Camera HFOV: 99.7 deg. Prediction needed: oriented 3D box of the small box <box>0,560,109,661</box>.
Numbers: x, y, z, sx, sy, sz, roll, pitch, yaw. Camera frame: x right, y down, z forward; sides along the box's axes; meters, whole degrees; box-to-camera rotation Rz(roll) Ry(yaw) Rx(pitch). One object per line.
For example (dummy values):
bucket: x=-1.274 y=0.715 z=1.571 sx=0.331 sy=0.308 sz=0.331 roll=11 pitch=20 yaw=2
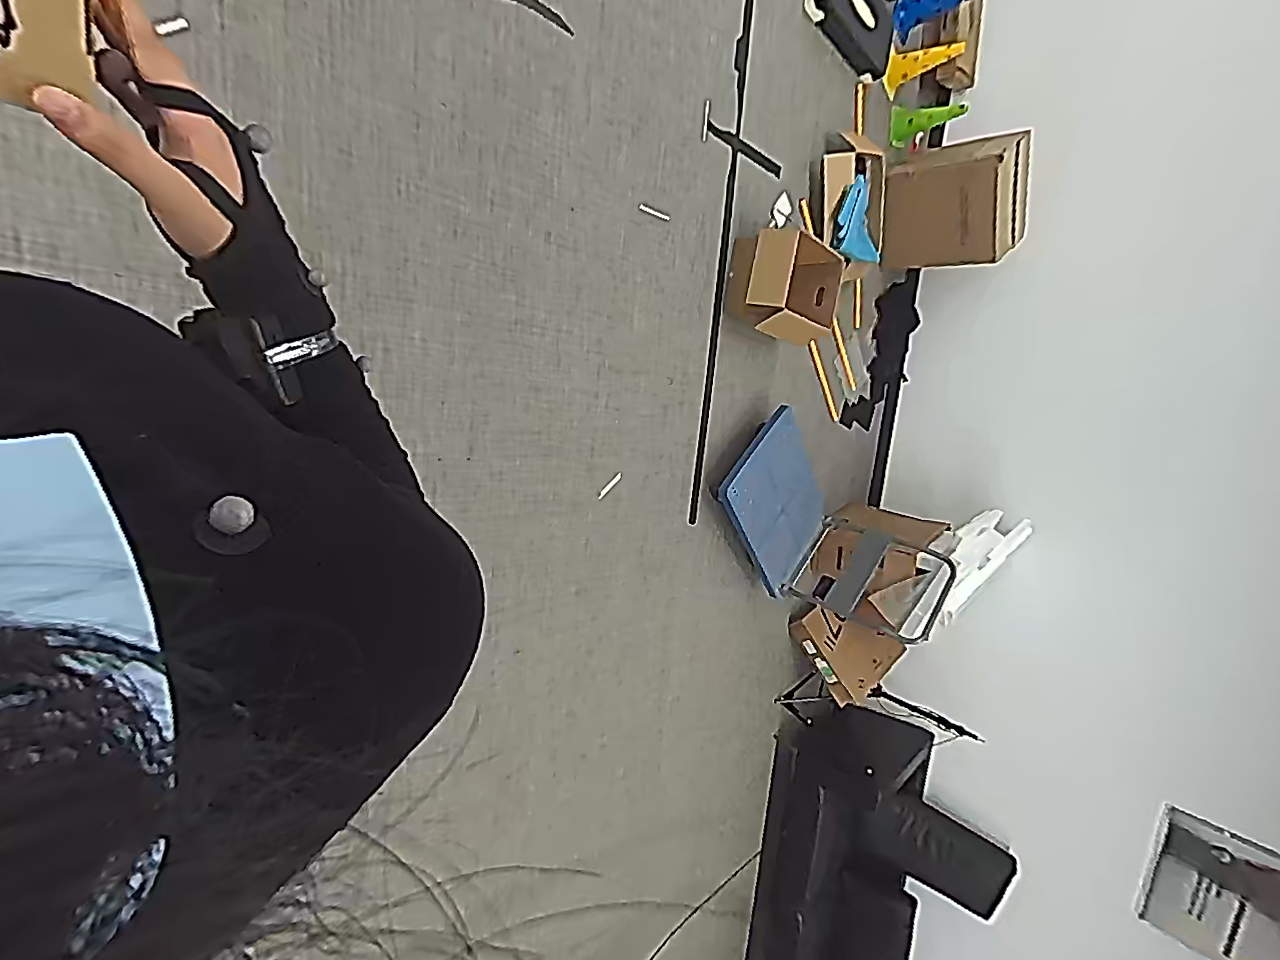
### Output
small box: x=-1.126 y=0.260 z=1.015 sx=0.168 sy=0.176 sz=0.179 roll=-9 pitch=108 yaw=-43

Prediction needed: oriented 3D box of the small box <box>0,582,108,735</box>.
small box: x=-1.013 y=0.292 z=0.902 sx=0.168 sy=0.176 sz=0.179 roll=-8 pitch=106 yaw=-44
